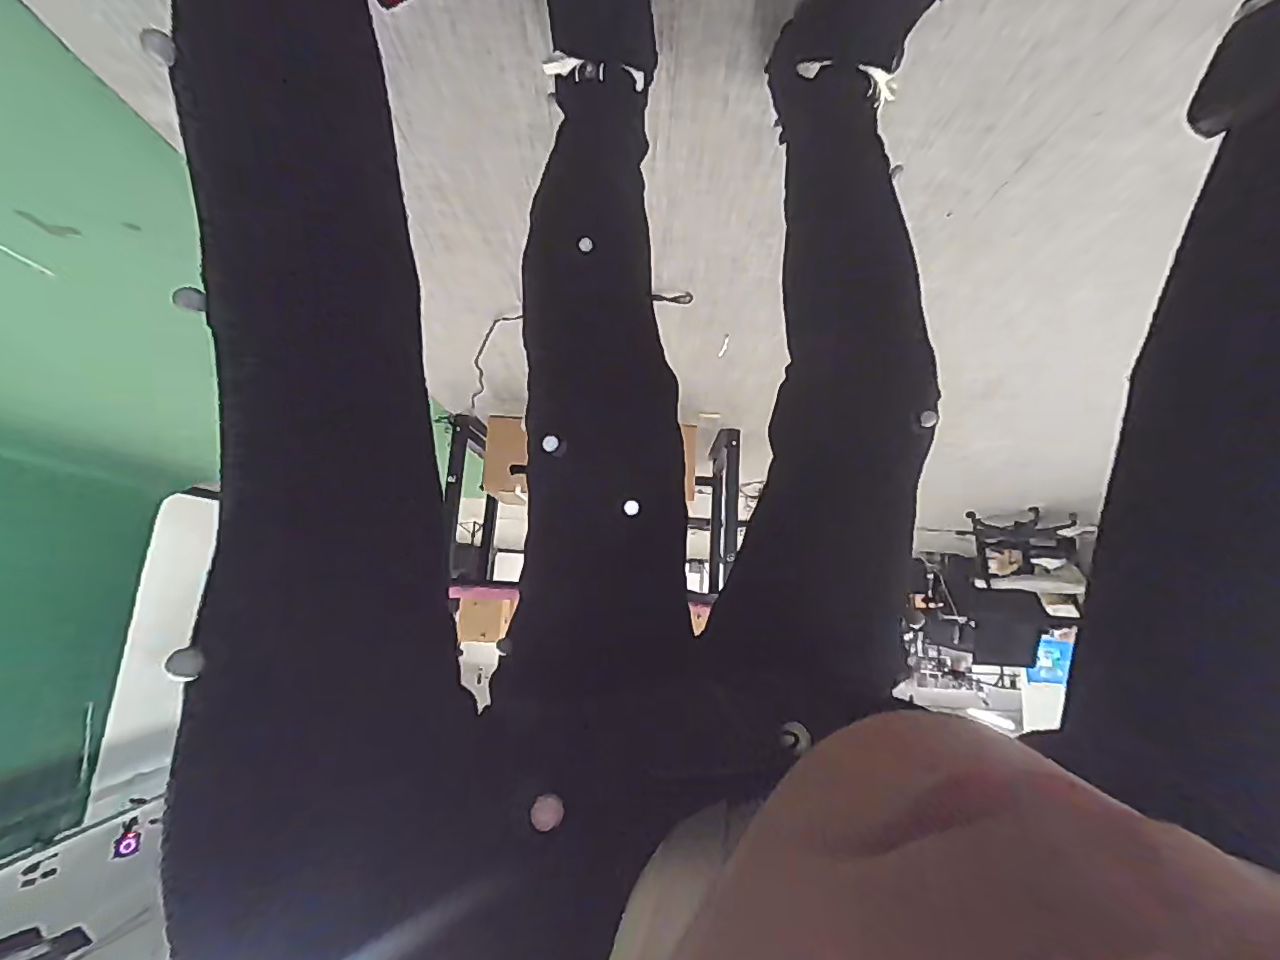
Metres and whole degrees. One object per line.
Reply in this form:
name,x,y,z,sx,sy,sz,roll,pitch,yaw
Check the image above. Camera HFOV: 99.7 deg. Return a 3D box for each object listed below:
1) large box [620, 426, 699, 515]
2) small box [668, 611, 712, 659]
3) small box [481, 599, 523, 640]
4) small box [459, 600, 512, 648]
large box,0.091,-0.030,2.345,0.320,0.320,0.408,4,169,3
small box,0.198,0.620,2.181,0.168,0.176,0.179,4,170,2
small box,-0.631,0.631,2.452,0.168,0.176,0.179,1,167,-2
small box,-0.608,0.566,2.145,0.168,0.176,0.179,2,171,-2
